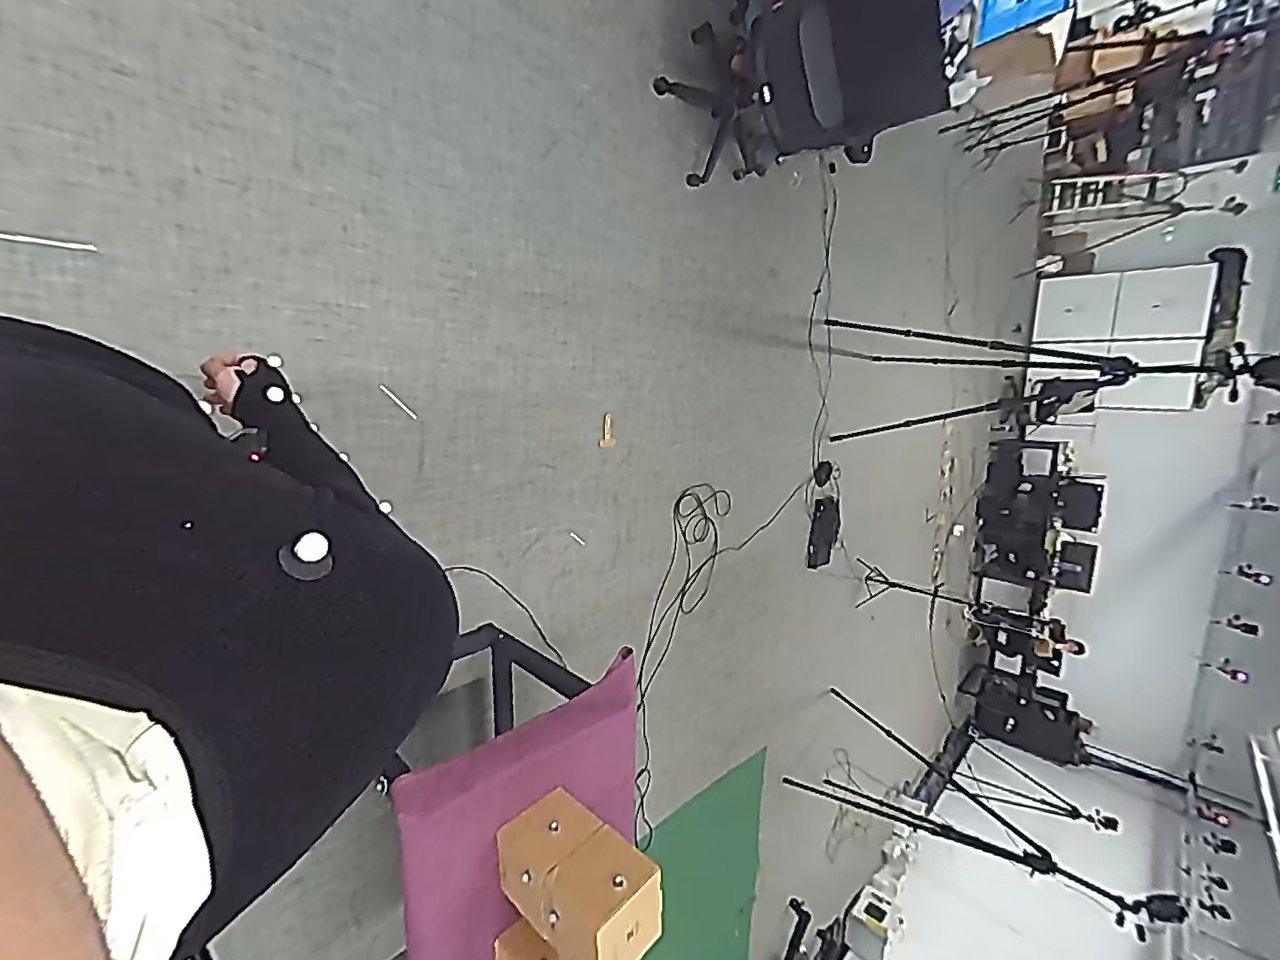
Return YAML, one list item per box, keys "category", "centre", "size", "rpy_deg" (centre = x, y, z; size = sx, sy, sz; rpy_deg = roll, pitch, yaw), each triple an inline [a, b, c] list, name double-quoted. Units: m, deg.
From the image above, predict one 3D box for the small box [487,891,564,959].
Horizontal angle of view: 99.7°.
- category: "small box"
  centre: [-0.234, 1.103, 1.255]
  size: [0.179, 0.176, 0.168]
  rpy_deg: [-11, 106, -45]

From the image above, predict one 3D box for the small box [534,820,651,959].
- category: "small box"
  centre: [-0.095, 0.849, 1.106]
  size: [0.179, 0.176, 0.168]
  rpy_deg: [-13, 107, -46]
